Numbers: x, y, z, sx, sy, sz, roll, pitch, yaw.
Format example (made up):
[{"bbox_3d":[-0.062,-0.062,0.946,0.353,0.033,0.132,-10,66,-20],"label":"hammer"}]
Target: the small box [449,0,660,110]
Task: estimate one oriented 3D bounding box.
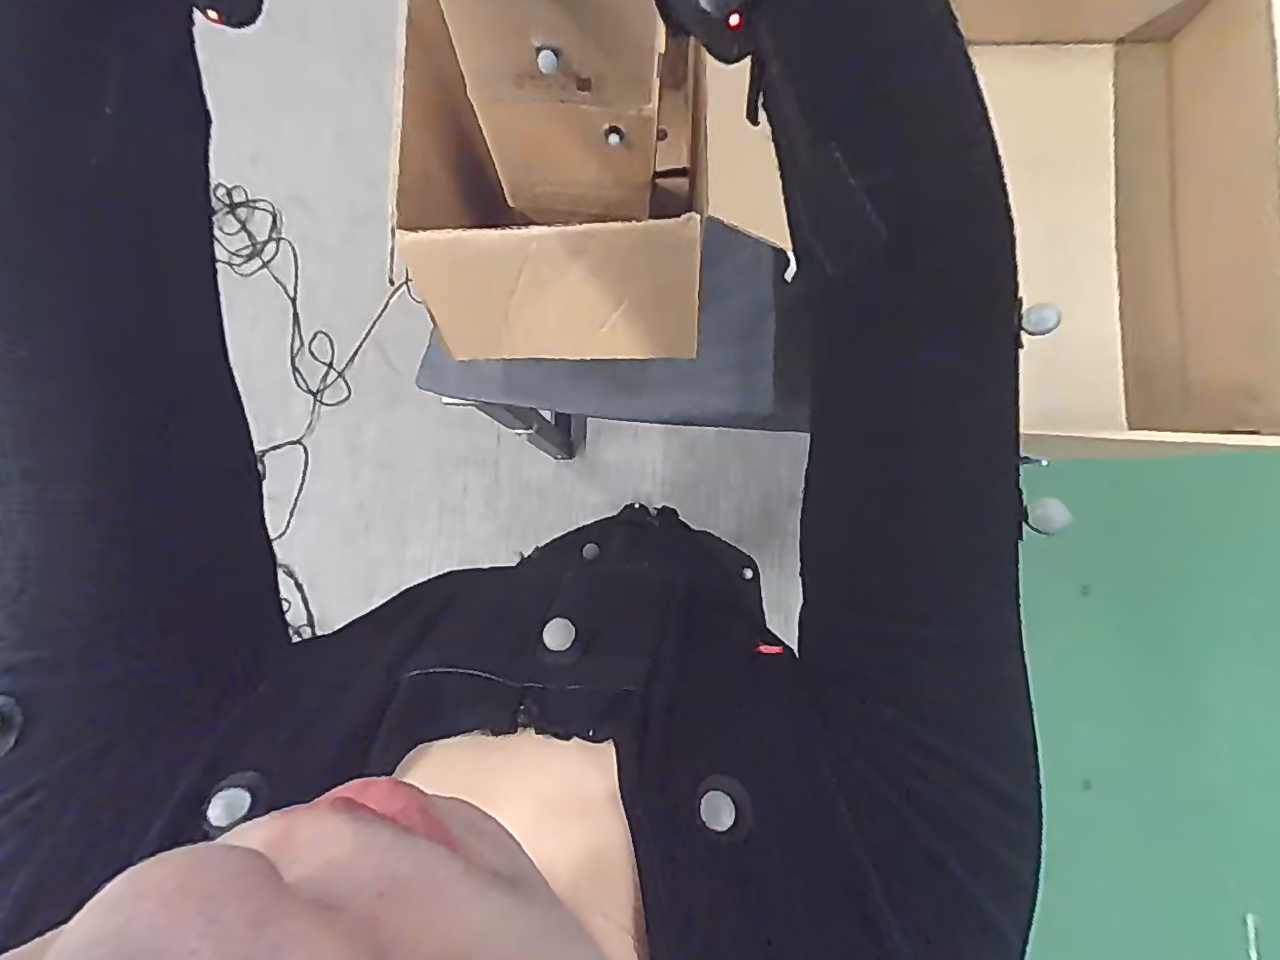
[{"bbox_3d":[-0.065,-0.436,0.421,0.168,0.176,0.179,1,84,-2],"label":"small box"}]
